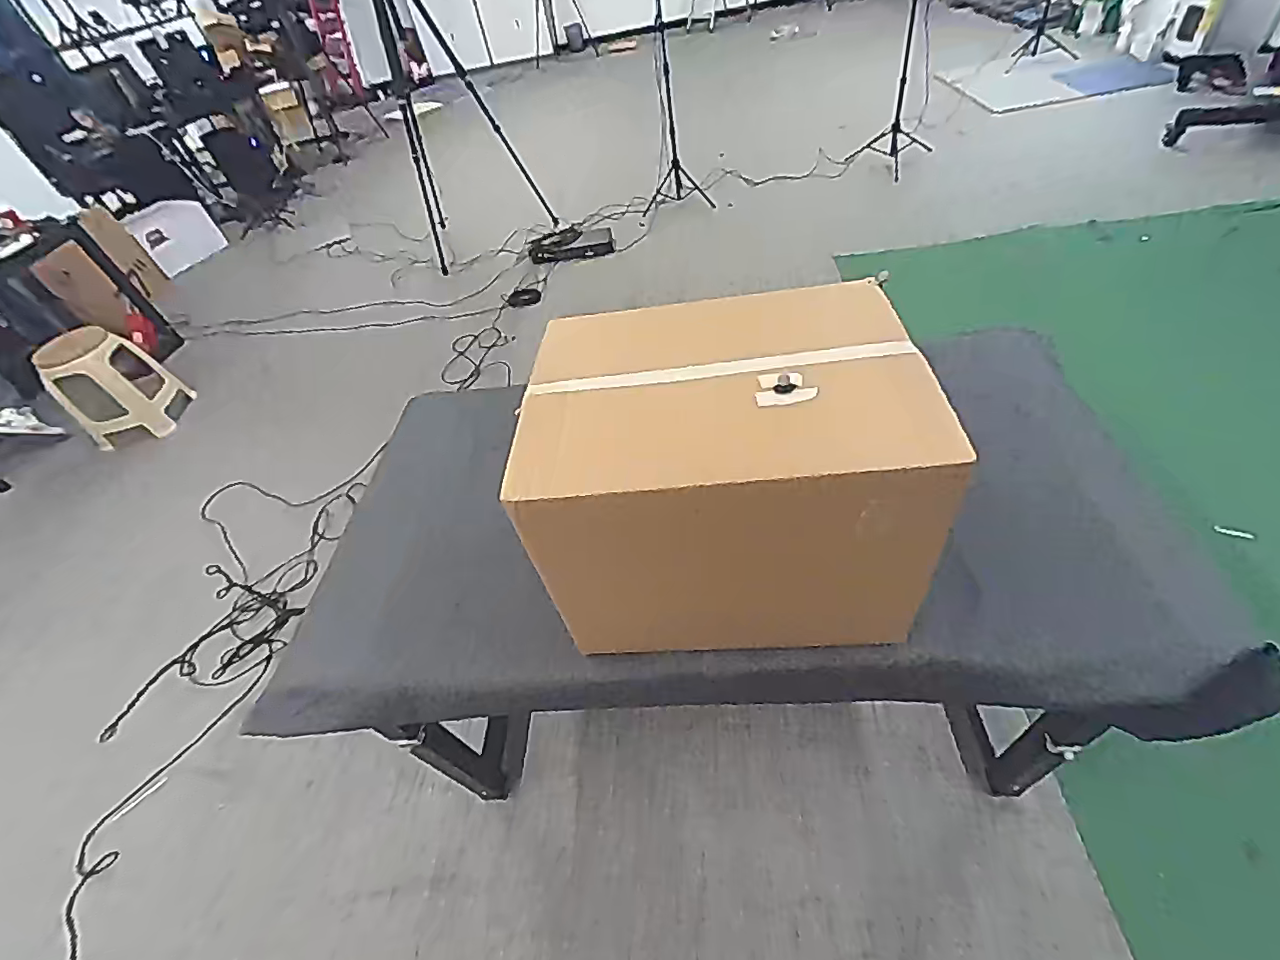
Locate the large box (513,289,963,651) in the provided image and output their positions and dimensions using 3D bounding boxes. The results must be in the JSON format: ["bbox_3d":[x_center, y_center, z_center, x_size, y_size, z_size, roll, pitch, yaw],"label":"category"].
[{"bbox_3d":[0.100,-0.004,0.681,0.408,0.320,0.320,-5,46,7],"label":"large box"}]
